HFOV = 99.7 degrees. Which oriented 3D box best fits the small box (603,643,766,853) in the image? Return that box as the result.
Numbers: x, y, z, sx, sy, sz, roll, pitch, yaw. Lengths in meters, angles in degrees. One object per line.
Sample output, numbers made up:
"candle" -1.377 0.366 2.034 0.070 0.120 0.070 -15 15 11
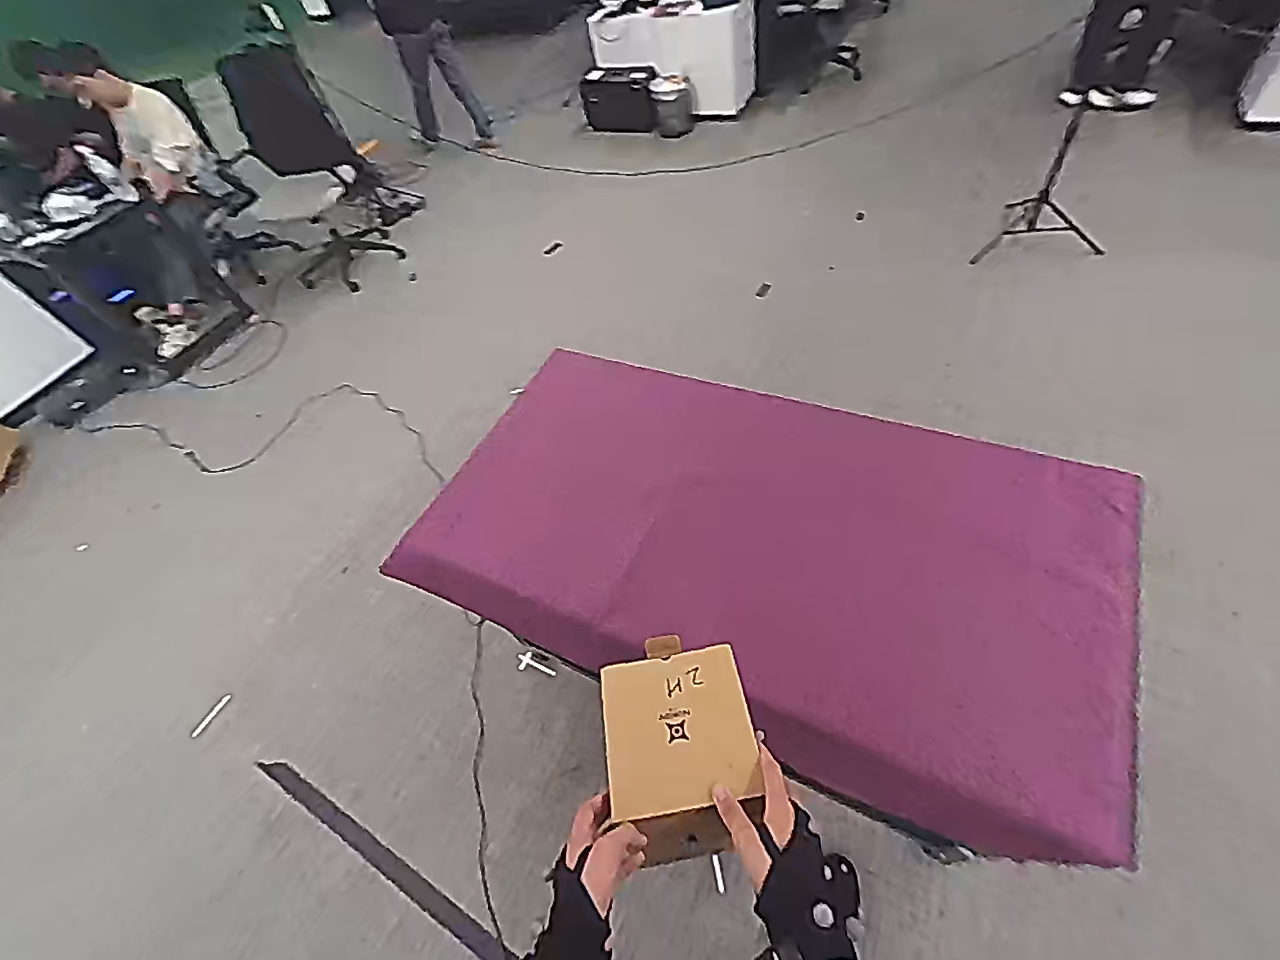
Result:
"small box" 0.053 0.331 0.663 0.168 0.176 0.179 -10 41 0
